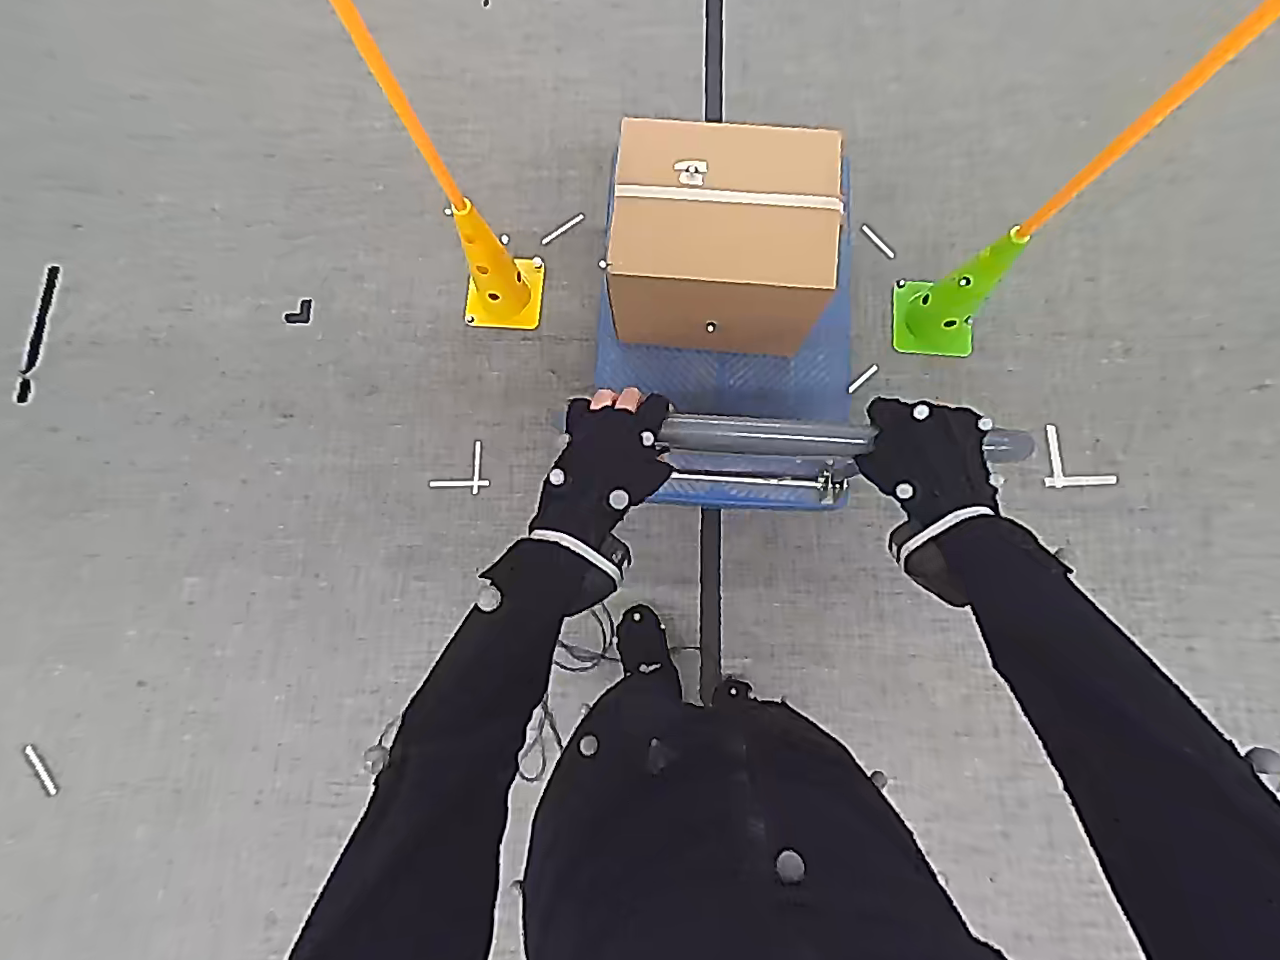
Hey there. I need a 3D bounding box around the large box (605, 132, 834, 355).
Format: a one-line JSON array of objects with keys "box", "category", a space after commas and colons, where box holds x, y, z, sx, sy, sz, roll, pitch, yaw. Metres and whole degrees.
[{"box": [0.155, -0.466, 1.123, 0.408, 0.320, 0.320, 5, 81, 3], "category": "large box"}]

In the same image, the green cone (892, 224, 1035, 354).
[{"box": [0.760, -0.458, 1.248, 0.202, 0.368, 0.200, 5, 81, 1], "category": "green cone"}]
